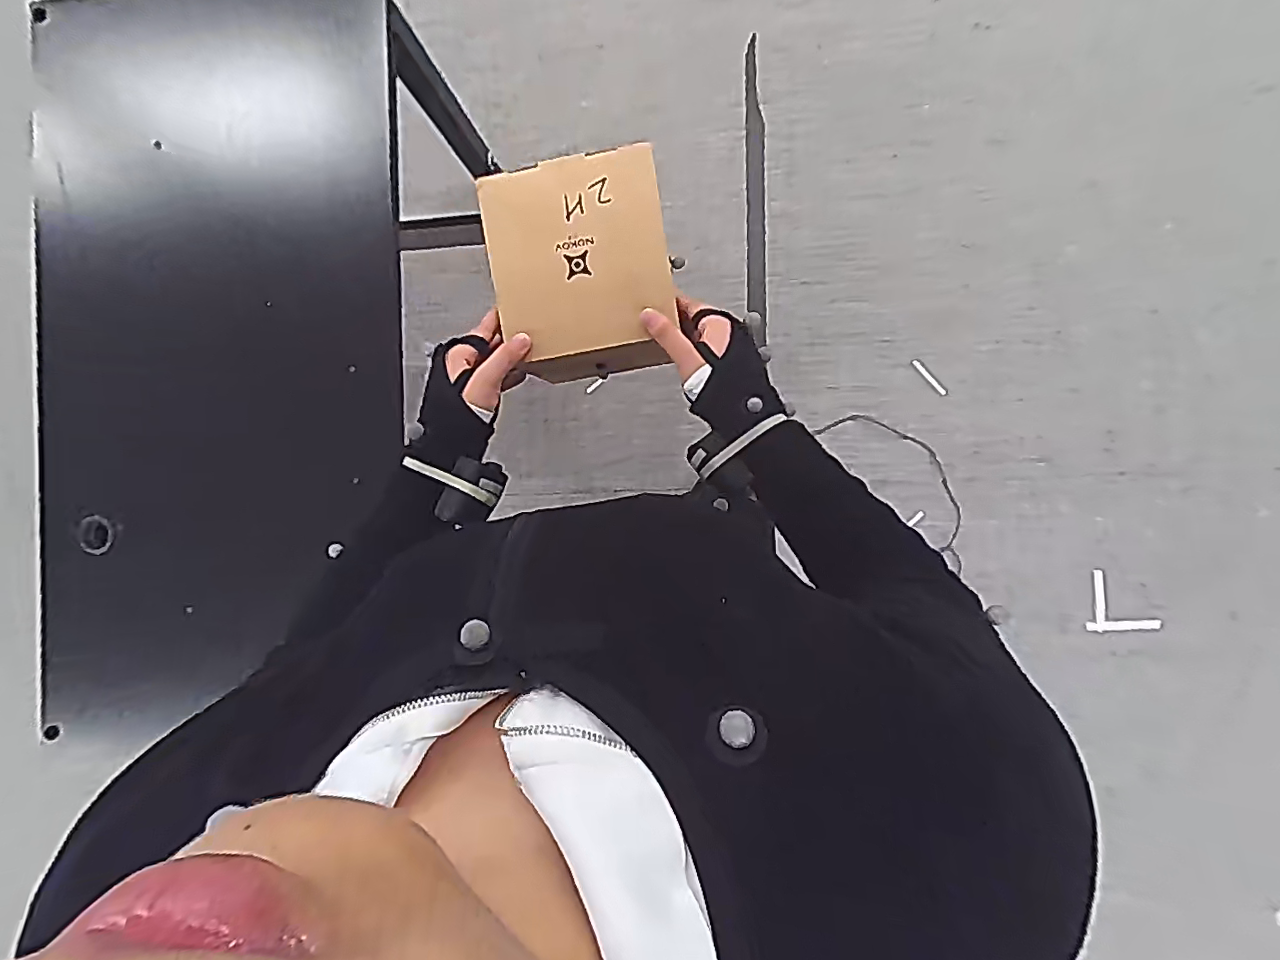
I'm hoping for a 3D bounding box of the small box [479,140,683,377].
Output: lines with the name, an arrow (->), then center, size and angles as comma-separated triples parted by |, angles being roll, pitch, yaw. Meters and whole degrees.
small box -> -0.047, -0.211, 0.571 | 0.168, 0.176, 0.179 | -9, 92, 6
